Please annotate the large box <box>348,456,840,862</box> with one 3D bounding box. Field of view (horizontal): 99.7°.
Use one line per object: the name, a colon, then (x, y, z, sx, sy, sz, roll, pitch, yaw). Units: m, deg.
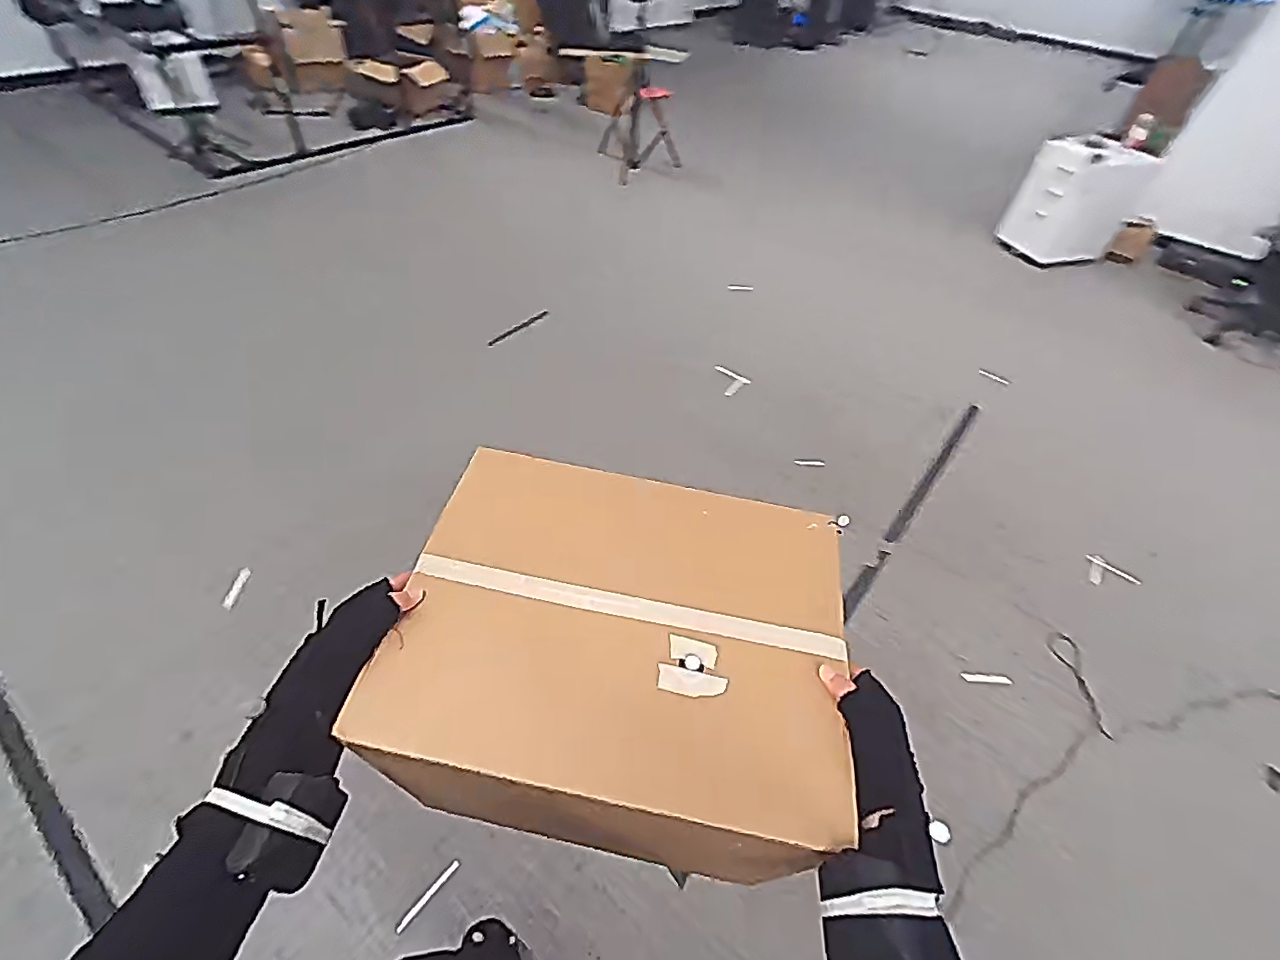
large box: (-0.031, 0.213, 0.630, 0.408, 0.320, 0.320, 11, 51, 2)
